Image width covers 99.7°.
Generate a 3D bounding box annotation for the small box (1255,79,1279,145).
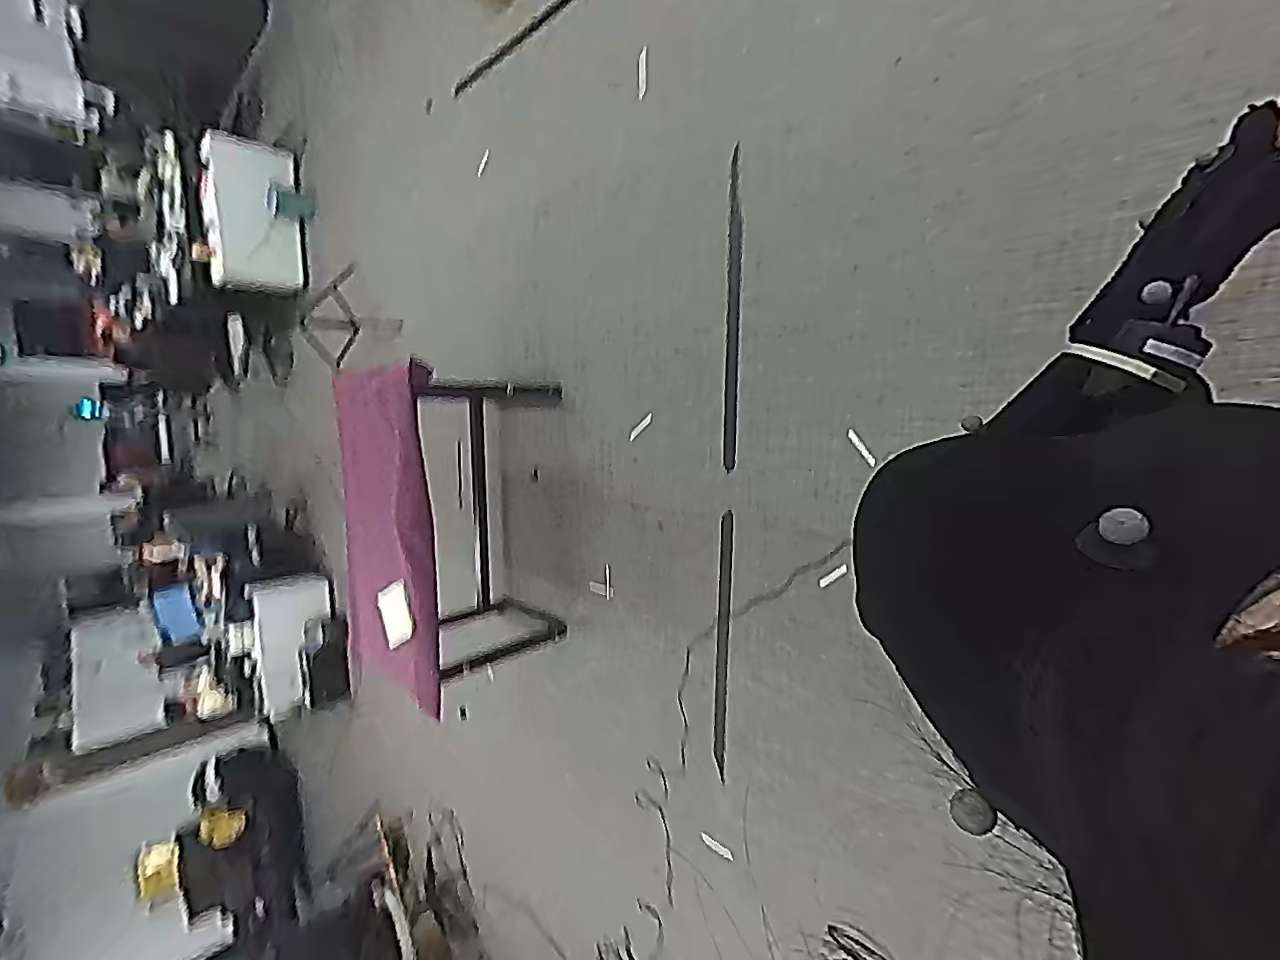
[{"bbox_3d":[0.588,-0.275,0.359,0.179,0.176,0.168,49,151,4],"label":"small box"}]
